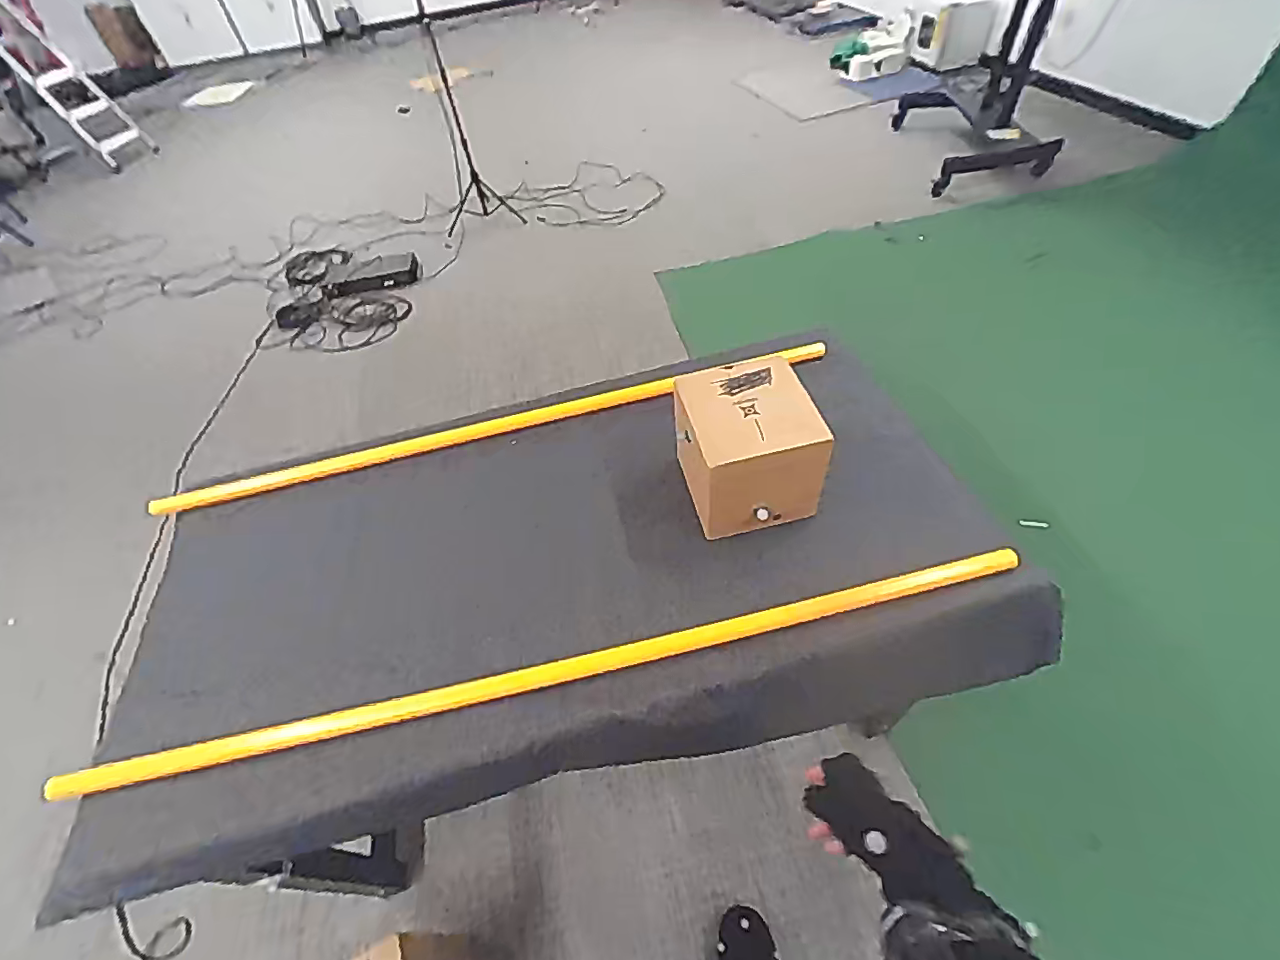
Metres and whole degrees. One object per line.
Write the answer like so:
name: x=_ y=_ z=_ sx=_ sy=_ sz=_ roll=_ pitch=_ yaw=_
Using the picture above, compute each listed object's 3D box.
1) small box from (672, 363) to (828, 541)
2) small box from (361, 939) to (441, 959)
small box: x=0.147 y=-0.039 z=0.787 sx=0.168 sy=0.176 sz=0.179 roll=-13 pitch=50 yaw=-3
small box: x=-0.406 y=0.864 z=0.845 sx=0.168 sy=0.176 sz=0.179 roll=-28 pitch=52 yaw=-14
